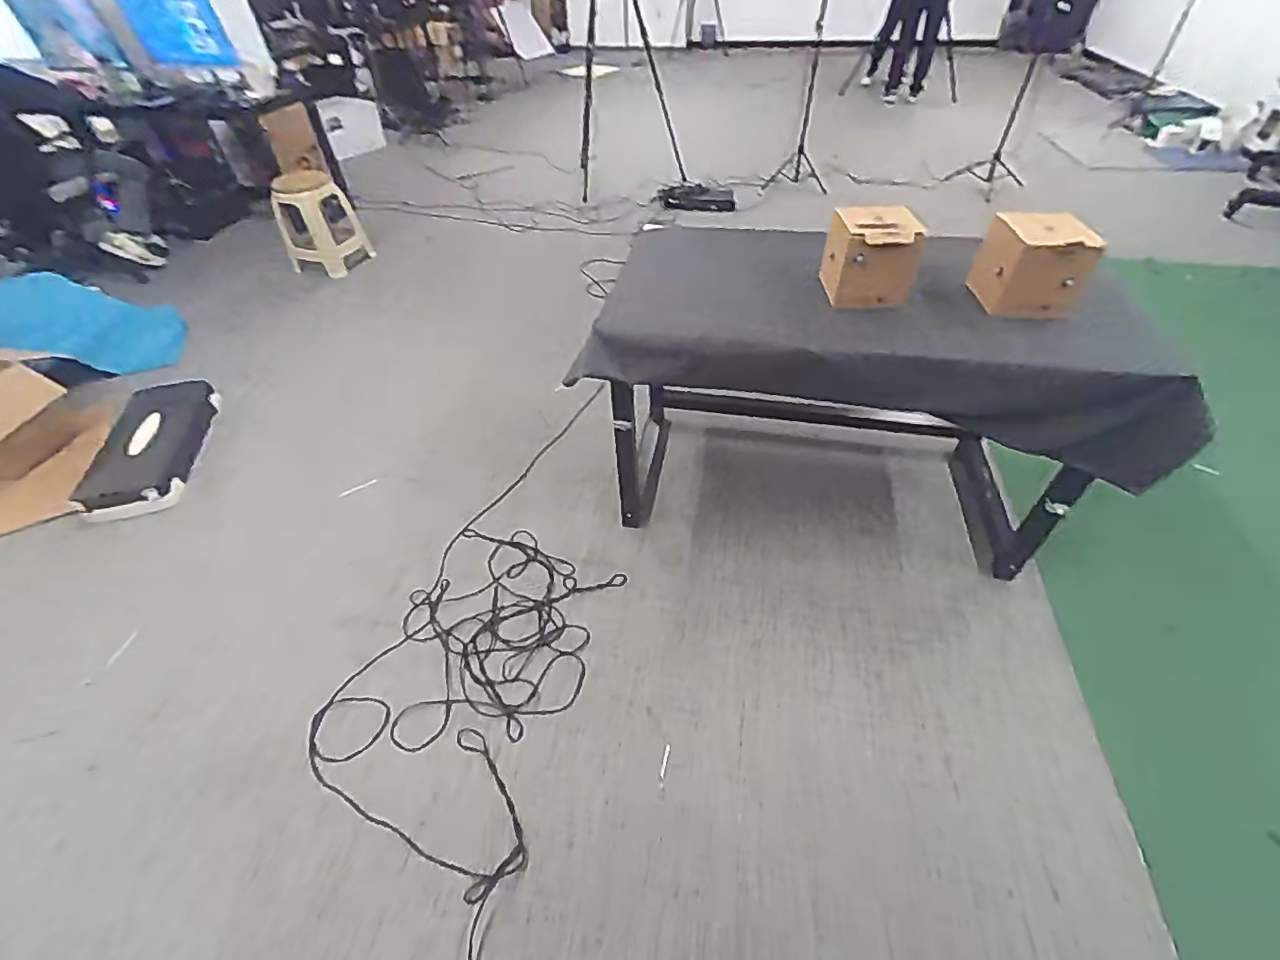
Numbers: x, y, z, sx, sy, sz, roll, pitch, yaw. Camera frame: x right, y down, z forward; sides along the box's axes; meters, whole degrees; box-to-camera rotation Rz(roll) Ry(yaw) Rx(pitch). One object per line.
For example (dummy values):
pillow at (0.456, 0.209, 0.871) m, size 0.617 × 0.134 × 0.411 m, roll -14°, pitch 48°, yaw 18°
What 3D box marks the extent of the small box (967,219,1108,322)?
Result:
small box at (0.874, -0.469, 1.211) m, size 0.168 × 0.176 × 0.179 m, roll 3°, pitch 44°, yaw 3°
